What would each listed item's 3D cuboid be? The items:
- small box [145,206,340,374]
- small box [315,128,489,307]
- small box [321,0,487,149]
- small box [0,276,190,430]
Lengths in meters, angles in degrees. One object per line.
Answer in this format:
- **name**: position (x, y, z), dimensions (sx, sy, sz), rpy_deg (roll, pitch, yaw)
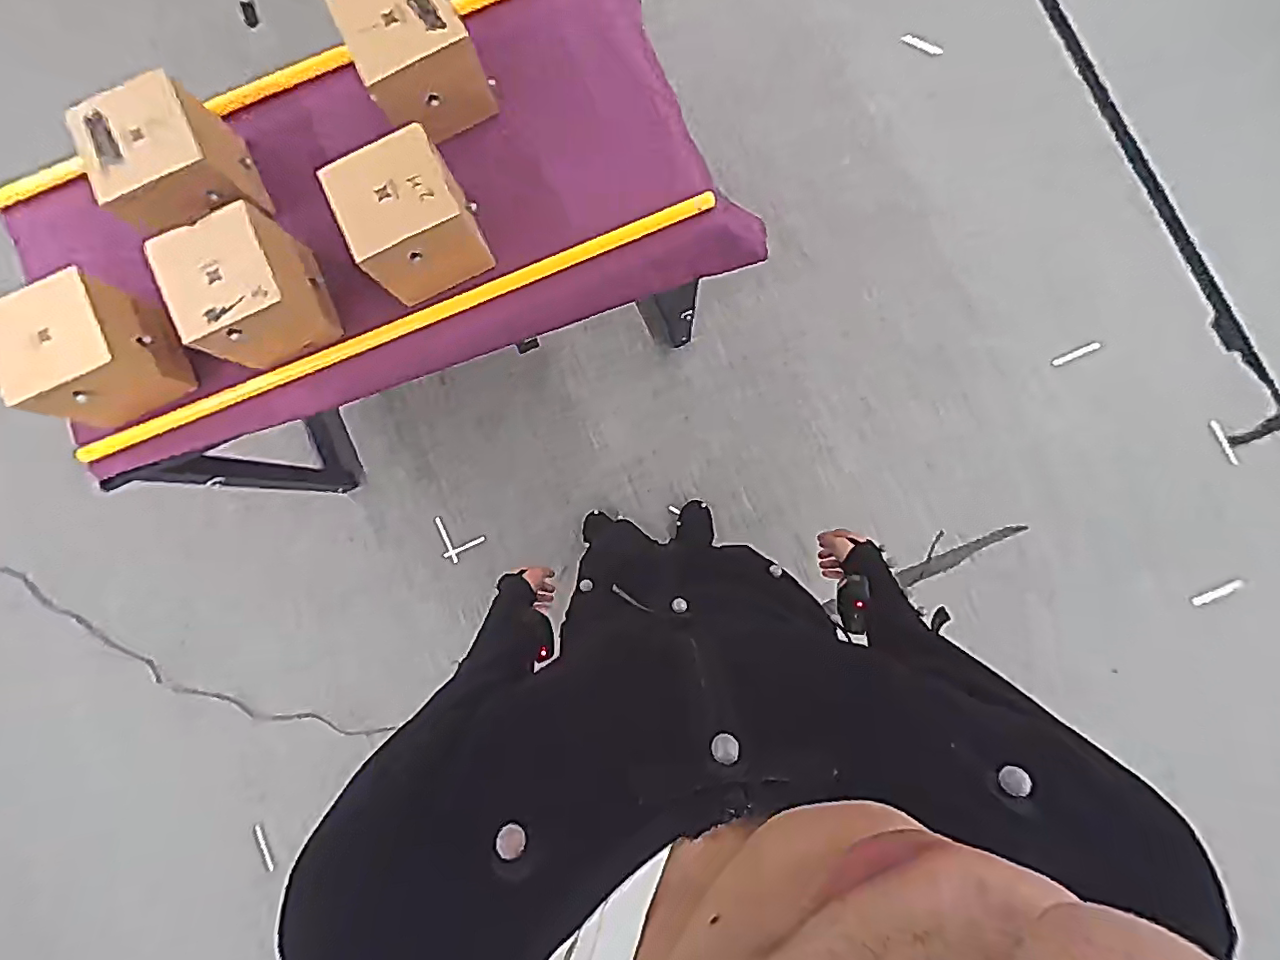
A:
- **small box**: position (-0.640, -0.300, 0.890), dimensions (0.168, 0.176, 0.179), rpy_deg (-24, 85, 1)
- **small box**: position (-0.377, -0.415, 0.886), dimensions (0.179, 0.176, 0.168), rpy_deg (-25, 84, 0)
- **small box**: position (-0.376, -0.696, 0.904), dimensions (0.179, 0.176, 0.168), rpy_deg (-27, 87, 1)
- **small box**: position (-0.901, -0.199, 0.894), dimensions (0.179, 0.176, 0.168), rpy_deg (-25, 85, 0)
